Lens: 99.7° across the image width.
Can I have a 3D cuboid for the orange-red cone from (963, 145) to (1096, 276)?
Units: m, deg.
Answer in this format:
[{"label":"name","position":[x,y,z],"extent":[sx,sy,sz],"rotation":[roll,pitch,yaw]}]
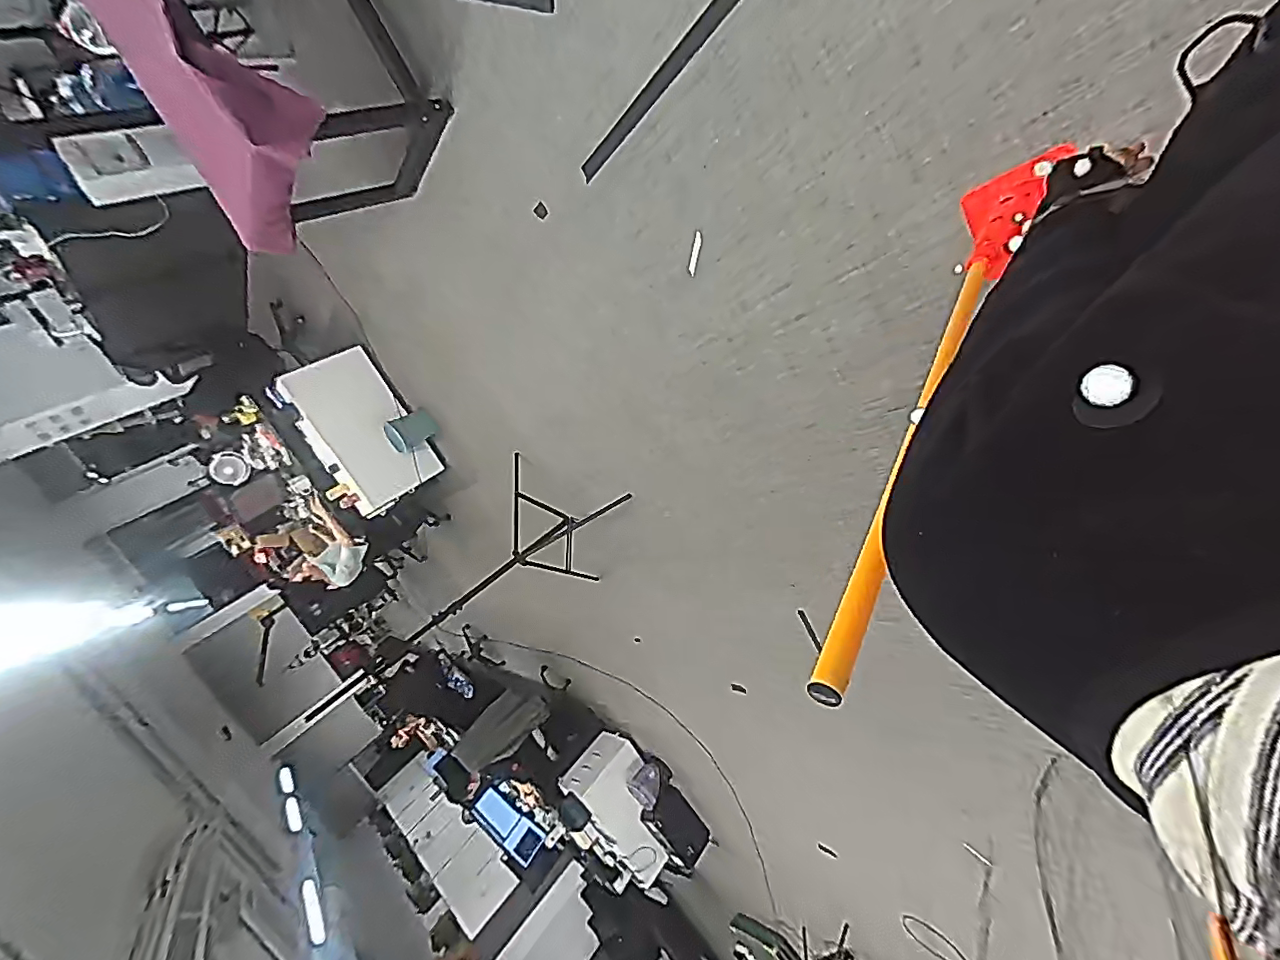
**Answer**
[{"label":"orange-red cone","position":[0.669,-0.446,0.991],"extent":[0.198,0.360,0.199],"rotation":[-10,113,51]}]
